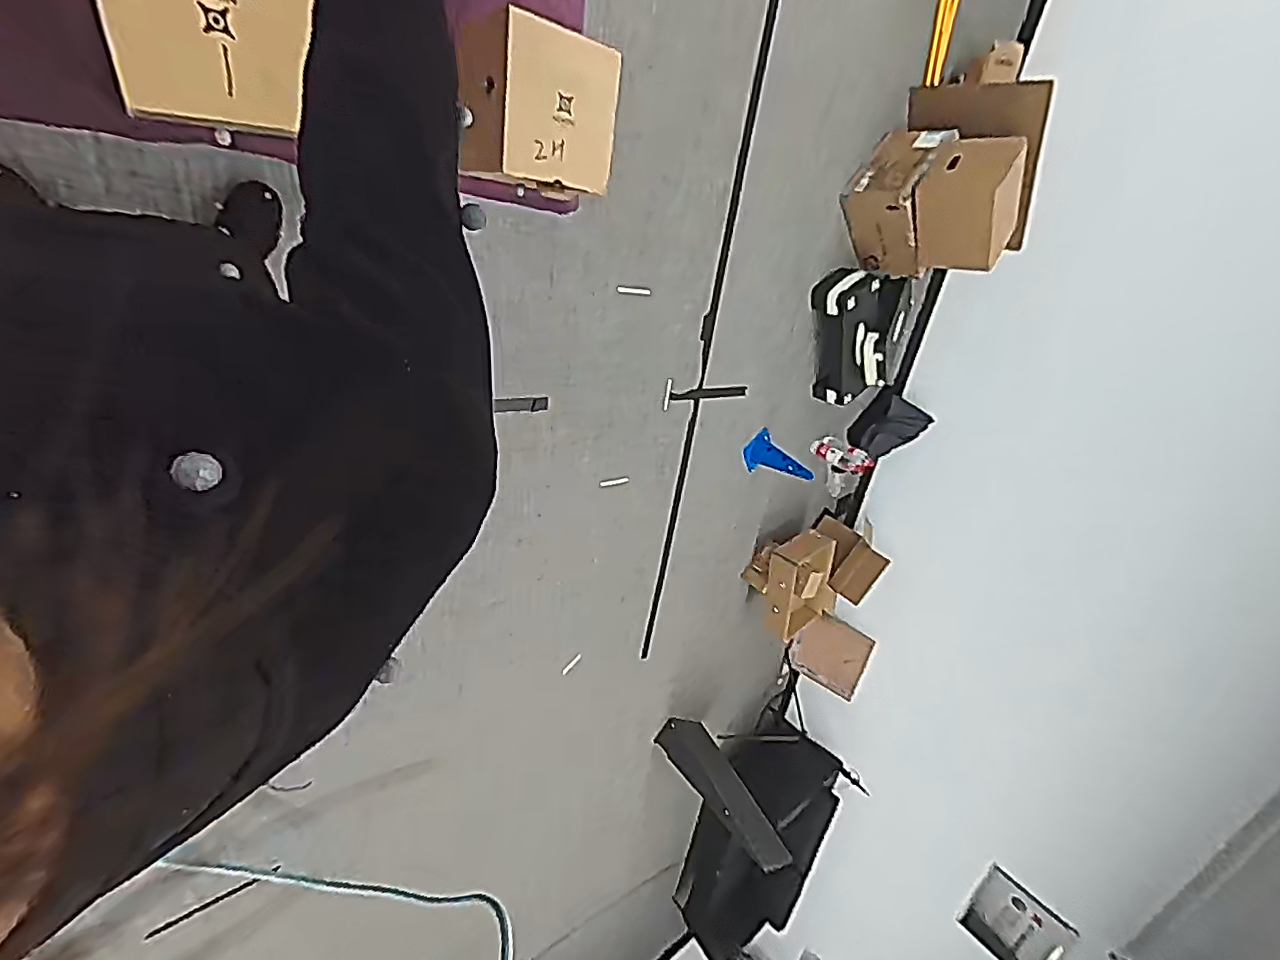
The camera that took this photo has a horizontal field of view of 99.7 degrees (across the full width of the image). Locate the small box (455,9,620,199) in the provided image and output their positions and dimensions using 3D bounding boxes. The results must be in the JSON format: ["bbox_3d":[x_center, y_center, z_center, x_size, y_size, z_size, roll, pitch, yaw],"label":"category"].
[{"bbox_3d":[-0.150,-0.508,0.760,0.168,0.176,0.179,-10,120,-38],"label":"small box"}]

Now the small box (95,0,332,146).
[{"bbox_3d":[-0.429,-0.448,0.539,0.168,0.176,0.179,-15,125,-36],"label":"small box"}]
